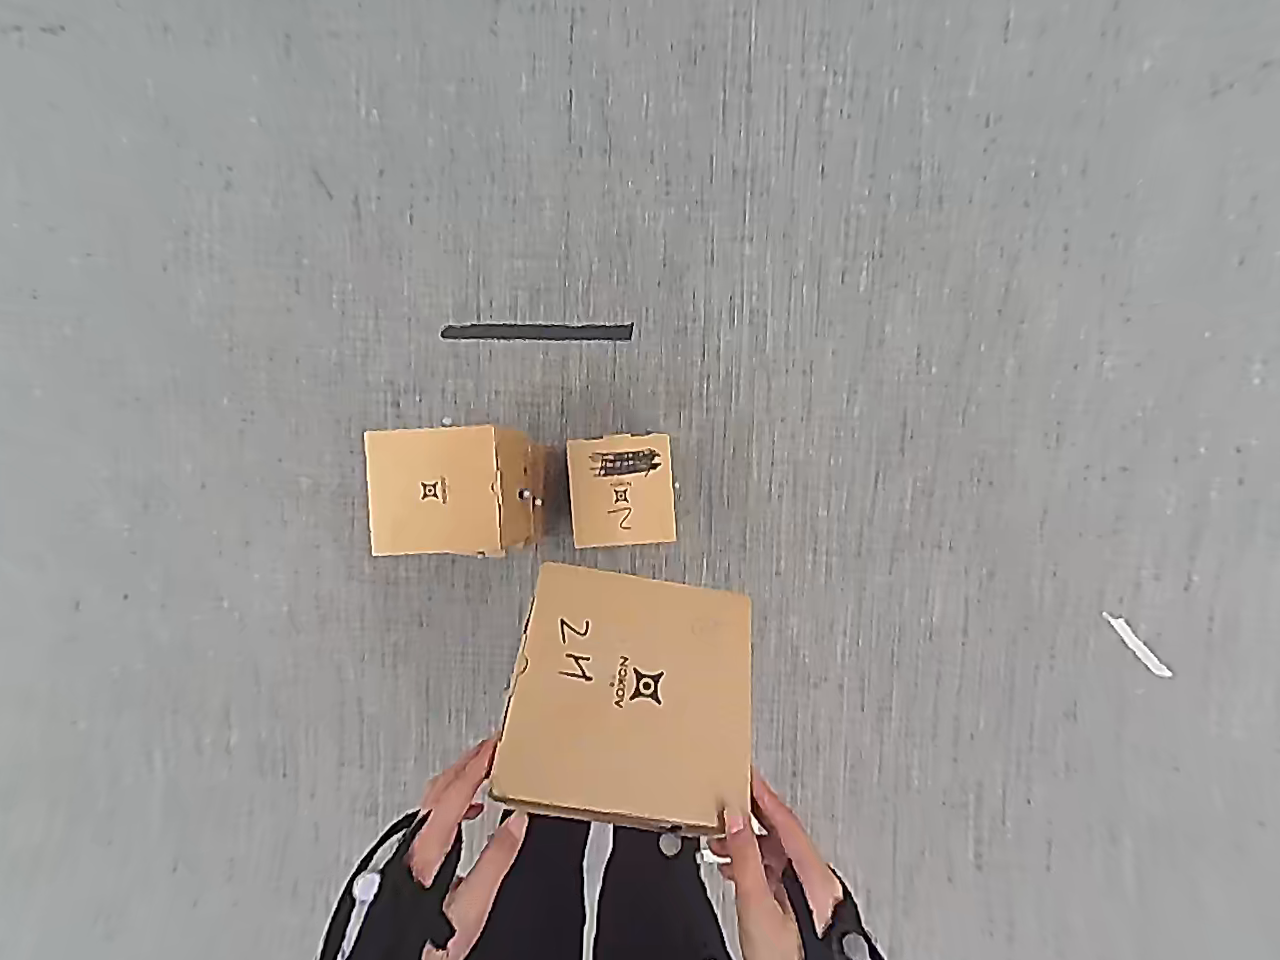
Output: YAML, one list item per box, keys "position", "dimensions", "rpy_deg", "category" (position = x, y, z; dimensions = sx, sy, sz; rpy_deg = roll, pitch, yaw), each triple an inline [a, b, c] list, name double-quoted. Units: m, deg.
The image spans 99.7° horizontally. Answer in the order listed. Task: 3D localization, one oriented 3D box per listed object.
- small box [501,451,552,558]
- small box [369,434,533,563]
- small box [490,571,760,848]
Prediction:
- position: [-0.254, 0.033, 0.947]
  dimensions: [0.168, 0.176, 0.179]
  rpy_deg: [4, 90, 2]
  category: "small box"
- position: [-0.263, 0.026, 0.785]
  dimensions: [0.179, 0.176, 0.168]
  rpy_deg: [-4, 90, 1]
  category: "small box"
- position: [-0.012, 0.197, 0.452]
  dimensions: [0.179, 0.176, 0.168]
  rpy_deg: [10, 55, -3]
  category: "small box"
